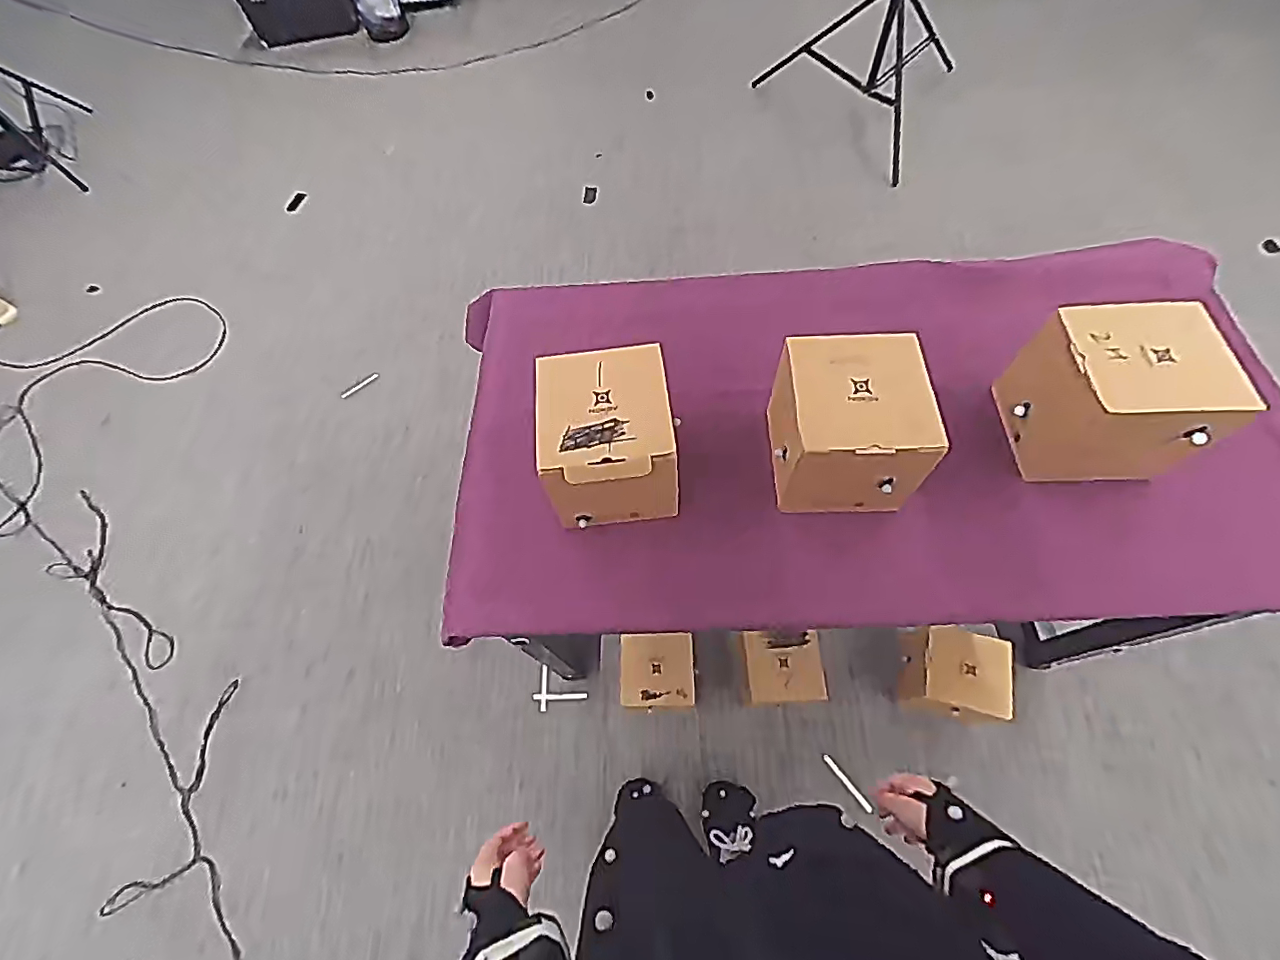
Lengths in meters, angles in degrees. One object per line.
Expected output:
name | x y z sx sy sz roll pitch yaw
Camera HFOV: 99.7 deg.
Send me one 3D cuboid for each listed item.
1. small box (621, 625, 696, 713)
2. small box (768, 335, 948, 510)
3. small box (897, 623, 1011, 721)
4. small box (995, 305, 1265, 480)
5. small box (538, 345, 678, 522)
small box | 0.045 0.454 1.291 0.168 0.176 0.179 -1 62 3
small box | 0.272 -0.068 0.721 0.168 0.176 0.179 -1 61 3
small box | 0.718 0.446 1.246 0.179 0.176 0.168 12 65 12
small box | 0.619 -0.108 0.714 0.179 0.176 0.168 -1 62 4
small box | -0.039 -0.053 0.733 0.168 0.176 0.179 -7 61 0
